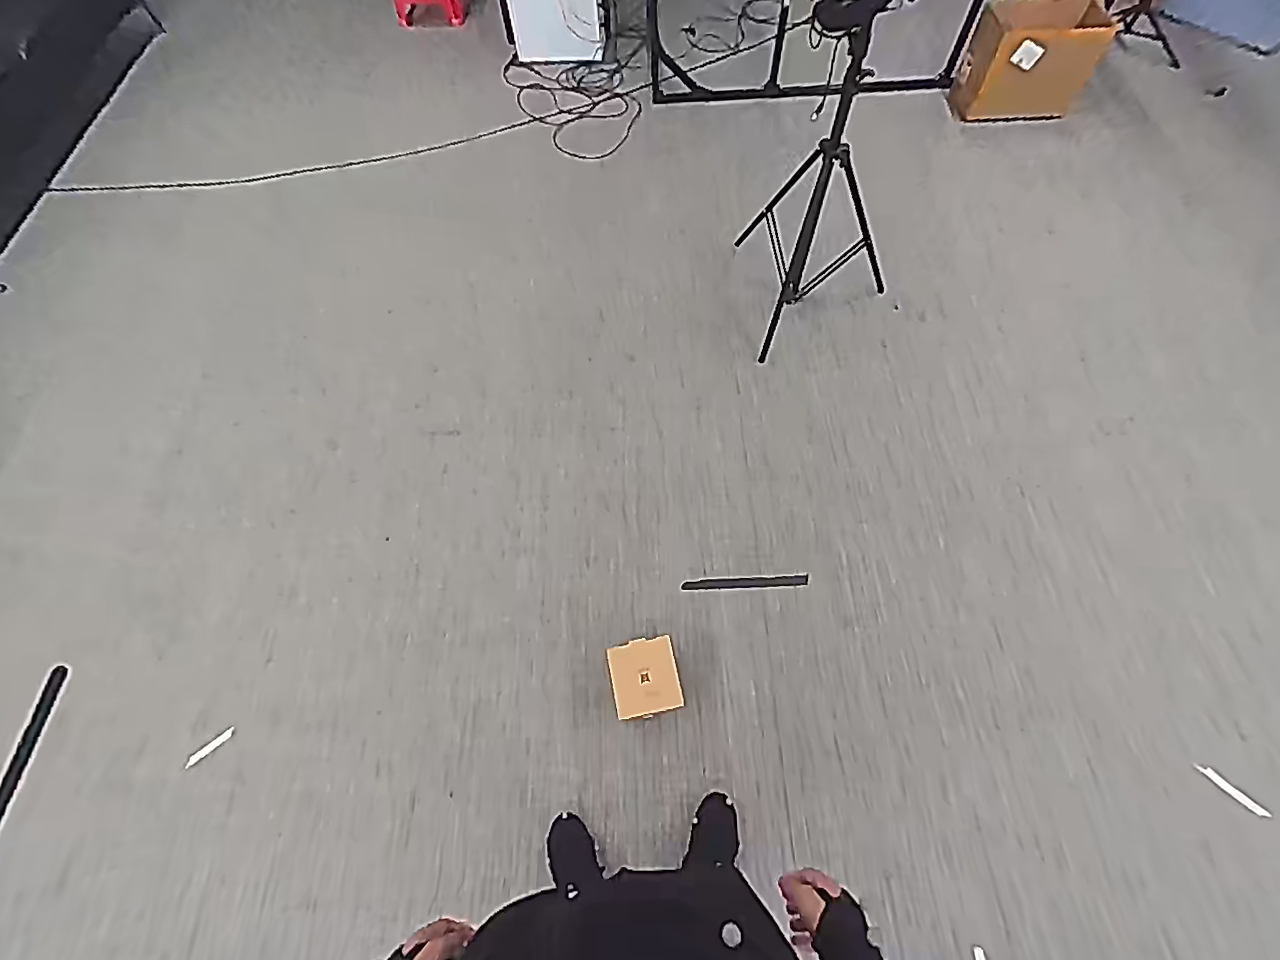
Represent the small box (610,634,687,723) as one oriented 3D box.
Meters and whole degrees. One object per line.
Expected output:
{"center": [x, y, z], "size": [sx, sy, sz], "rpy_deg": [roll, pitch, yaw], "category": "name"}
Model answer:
{"center": [0.021, 0.518, 1.402], "size": [0.168, 0.176, 0.179], "rpy_deg": [-12, 63, -2], "category": "small box"}
